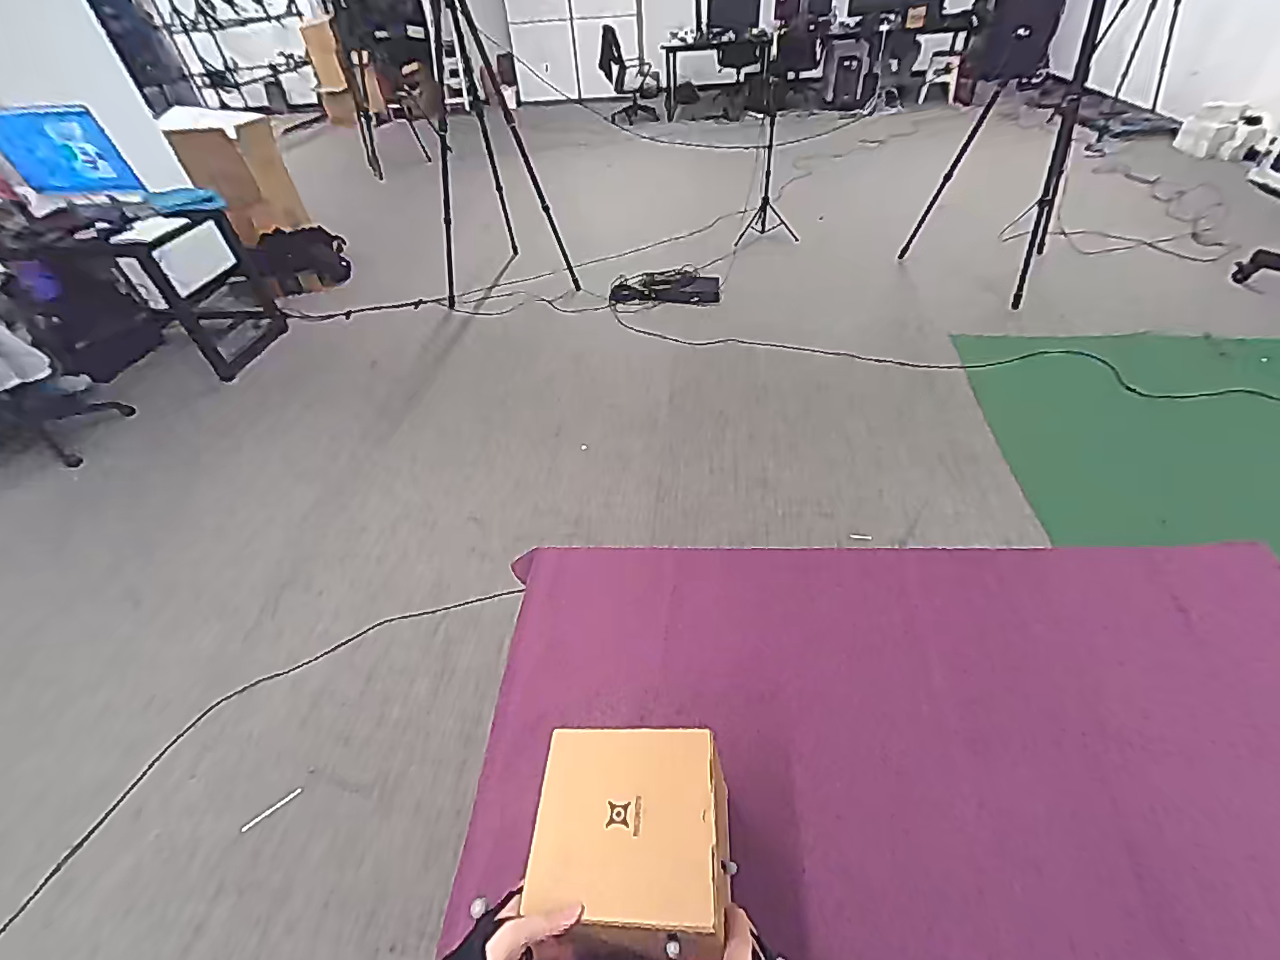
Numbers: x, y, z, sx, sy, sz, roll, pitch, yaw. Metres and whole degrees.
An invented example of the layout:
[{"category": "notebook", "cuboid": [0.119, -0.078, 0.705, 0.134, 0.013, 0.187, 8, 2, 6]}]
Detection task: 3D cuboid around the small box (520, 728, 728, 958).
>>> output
[{"category": "small box", "cuboid": [-0.003, 0.383, 0.574, 0.179, 0.176, 0.168, -4, 41, 9]}]
